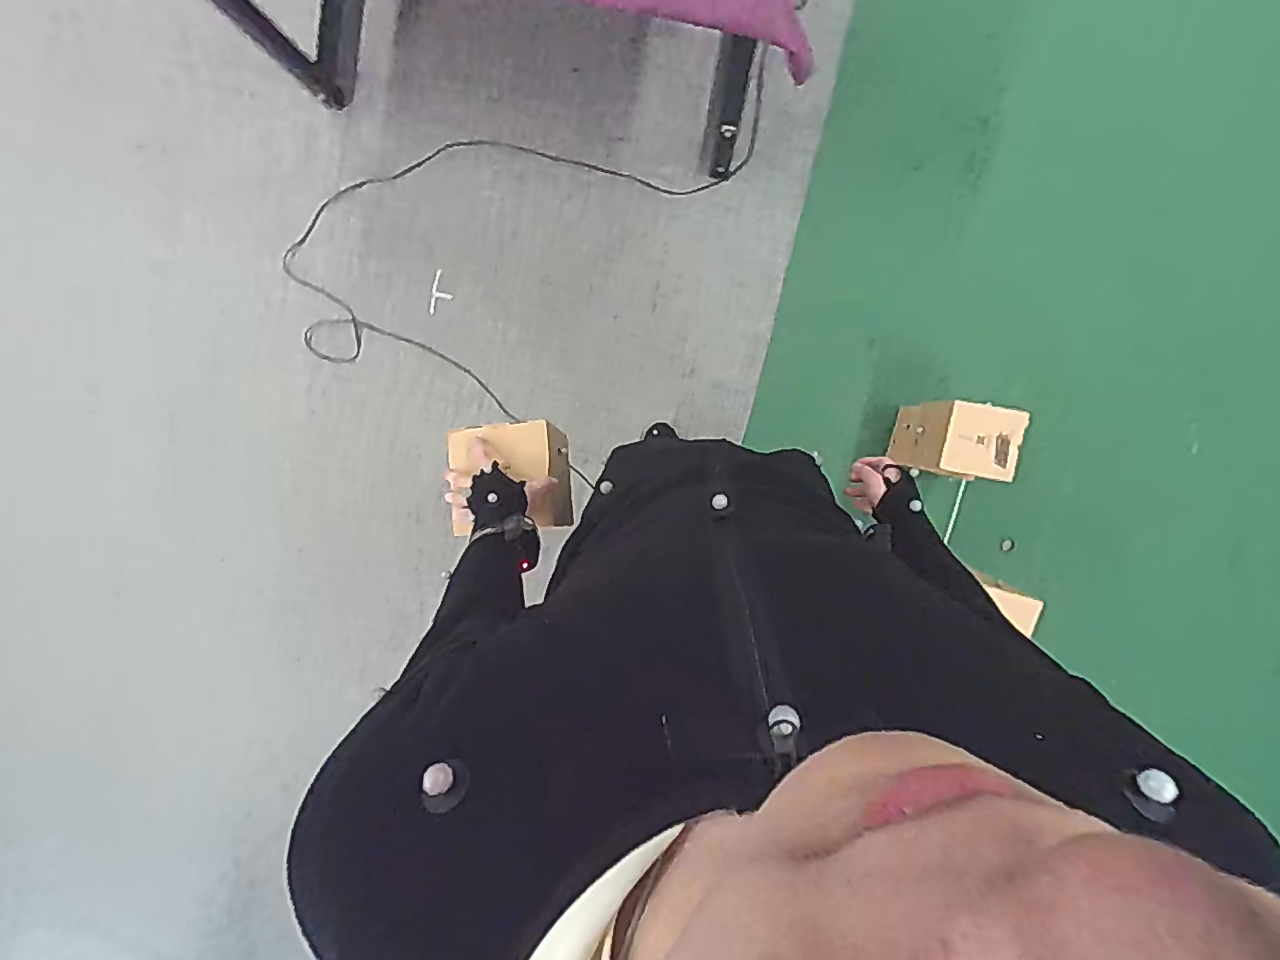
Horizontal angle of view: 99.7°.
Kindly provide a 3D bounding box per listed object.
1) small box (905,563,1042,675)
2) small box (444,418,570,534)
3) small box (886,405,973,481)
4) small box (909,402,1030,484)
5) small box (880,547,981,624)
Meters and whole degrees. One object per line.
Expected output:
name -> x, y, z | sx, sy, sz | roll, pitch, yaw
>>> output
small box -> 0.733, 0.300, 1.209 | 0.179, 0.176, 0.168 | 17, 97, 2
small box -> -0.221, -0.001, 0.934 | 0.168, 0.176, 0.179 | -6, 86, 4
small box -> 0.812, -0.104, 1.491 | 0.179, 0.176, 0.168 | 14, 97, 1
small box -> 0.799, -0.095, 1.328 | 0.179, 0.176, 0.168 | 11, 96, 2
small box -> 0.746, 0.284, 1.373 | 0.179, 0.176, 0.168 | 17, 98, 1
